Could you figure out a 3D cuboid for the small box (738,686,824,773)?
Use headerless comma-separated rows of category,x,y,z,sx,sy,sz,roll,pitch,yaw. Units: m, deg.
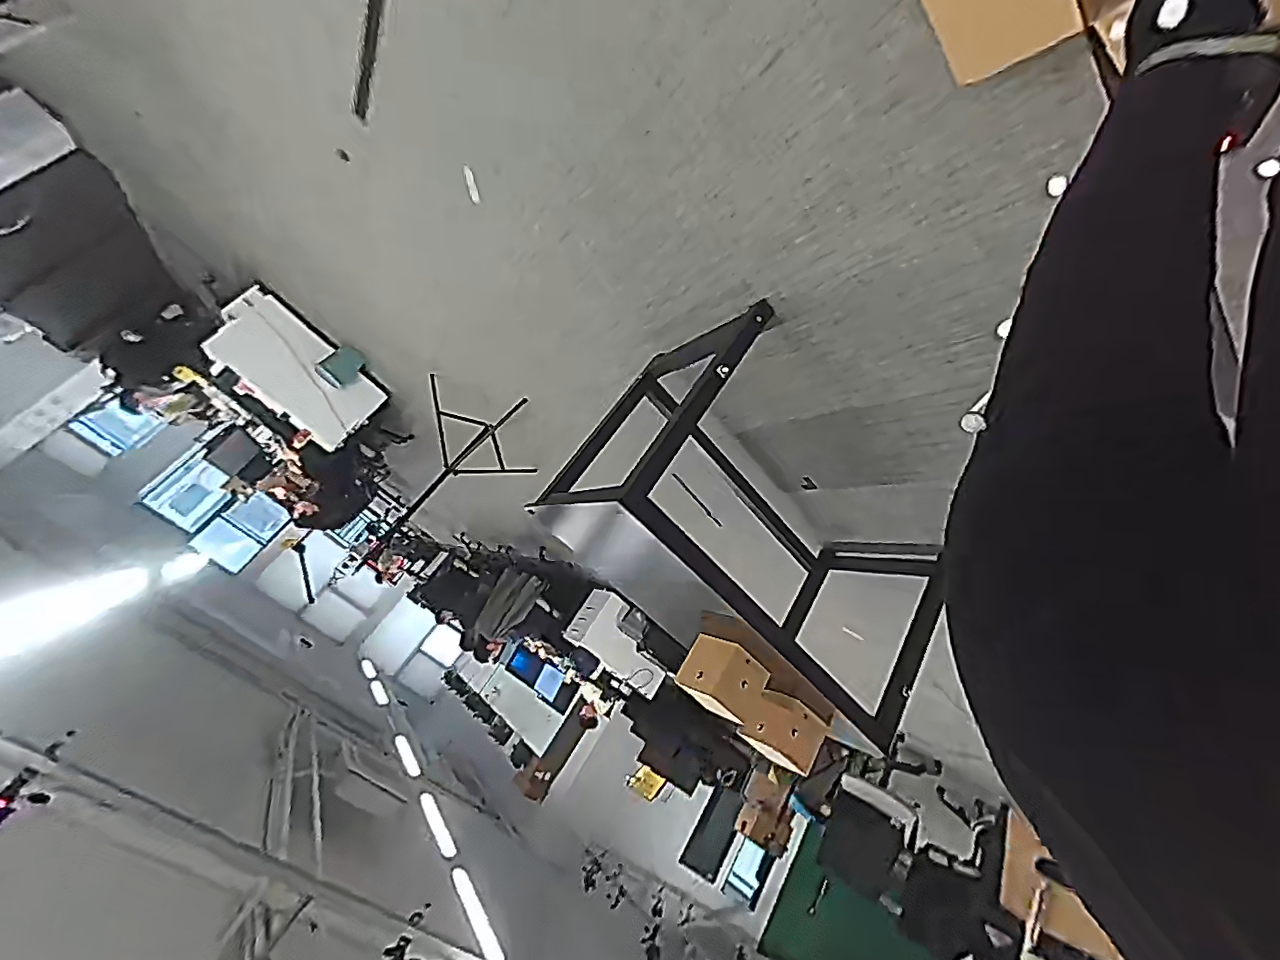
small box,0.451,0.776,1.699,0.168,0.176,0.179,44,157,-15

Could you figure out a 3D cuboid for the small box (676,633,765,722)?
small box,0.245,0.574,1.592,0.168,0.176,0.179,46,155,-21
